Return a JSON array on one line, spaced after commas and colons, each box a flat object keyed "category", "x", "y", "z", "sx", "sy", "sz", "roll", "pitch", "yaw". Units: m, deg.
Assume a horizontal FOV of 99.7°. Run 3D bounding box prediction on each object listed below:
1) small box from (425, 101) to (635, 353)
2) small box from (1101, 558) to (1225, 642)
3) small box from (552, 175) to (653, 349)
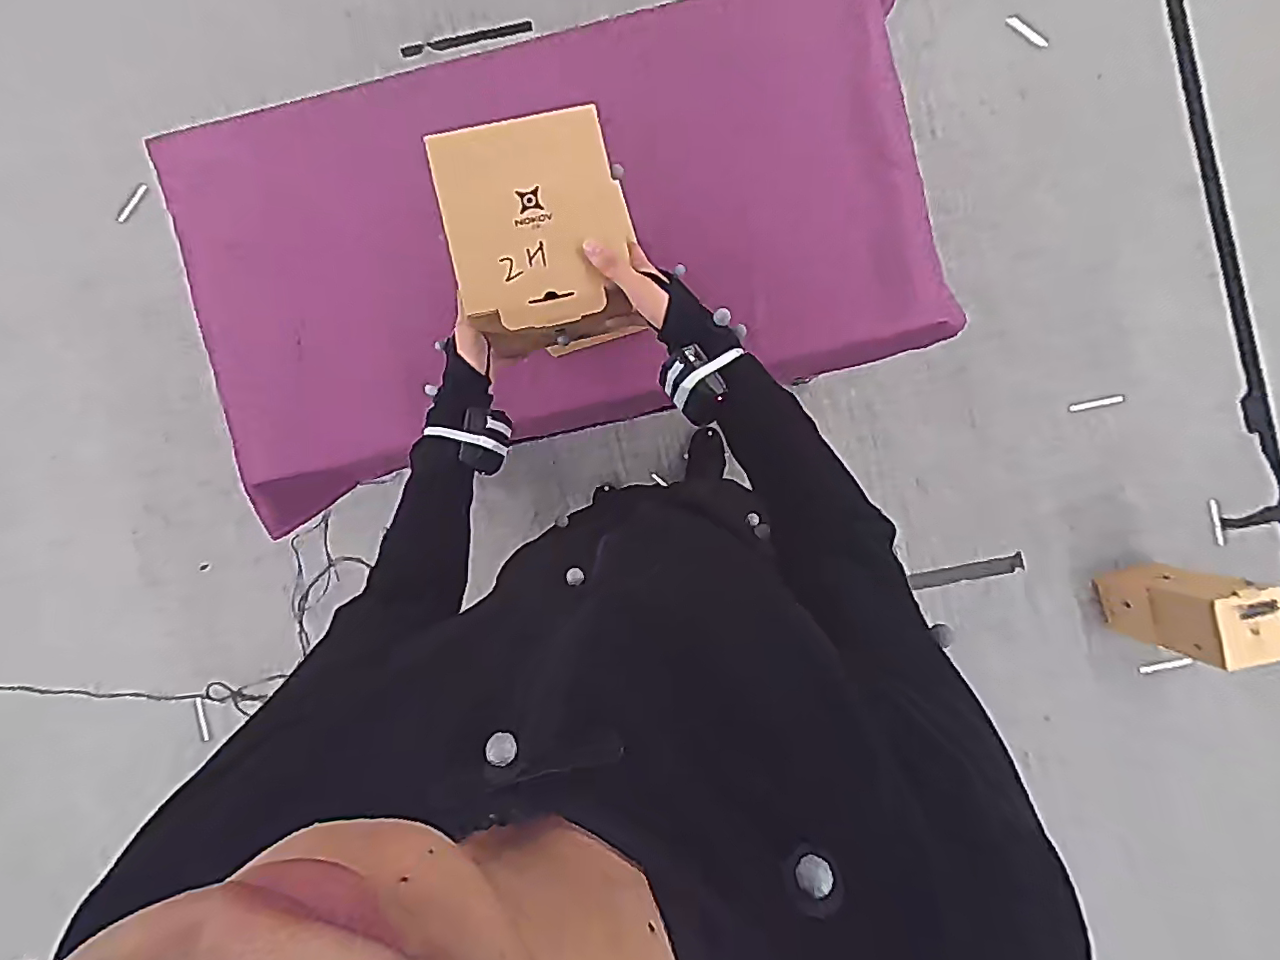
[{"category": "small box", "x": -0.106, "y": -0.255, "z": 0.583, "sx": 0.168, "sy": 0.176, "sz": 0.179, "roll": -13, "pitch": 91, "yaw": -2}, {"category": "small box", "x": 1.440, "y": 0.329, "z": 1.506, "sx": 0.179, "sy": 0.176, "sz": 0.168, "roll": -17, "pitch": 91, "yaw": 2}, {"category": "small box", "x": -0.084, "y": -0.308, "z": 0.804, "sx": 0.179, "sy": 0.176, "sz": 0.168, "roll": -17, "pitch": 91, "yaw": 2}]
